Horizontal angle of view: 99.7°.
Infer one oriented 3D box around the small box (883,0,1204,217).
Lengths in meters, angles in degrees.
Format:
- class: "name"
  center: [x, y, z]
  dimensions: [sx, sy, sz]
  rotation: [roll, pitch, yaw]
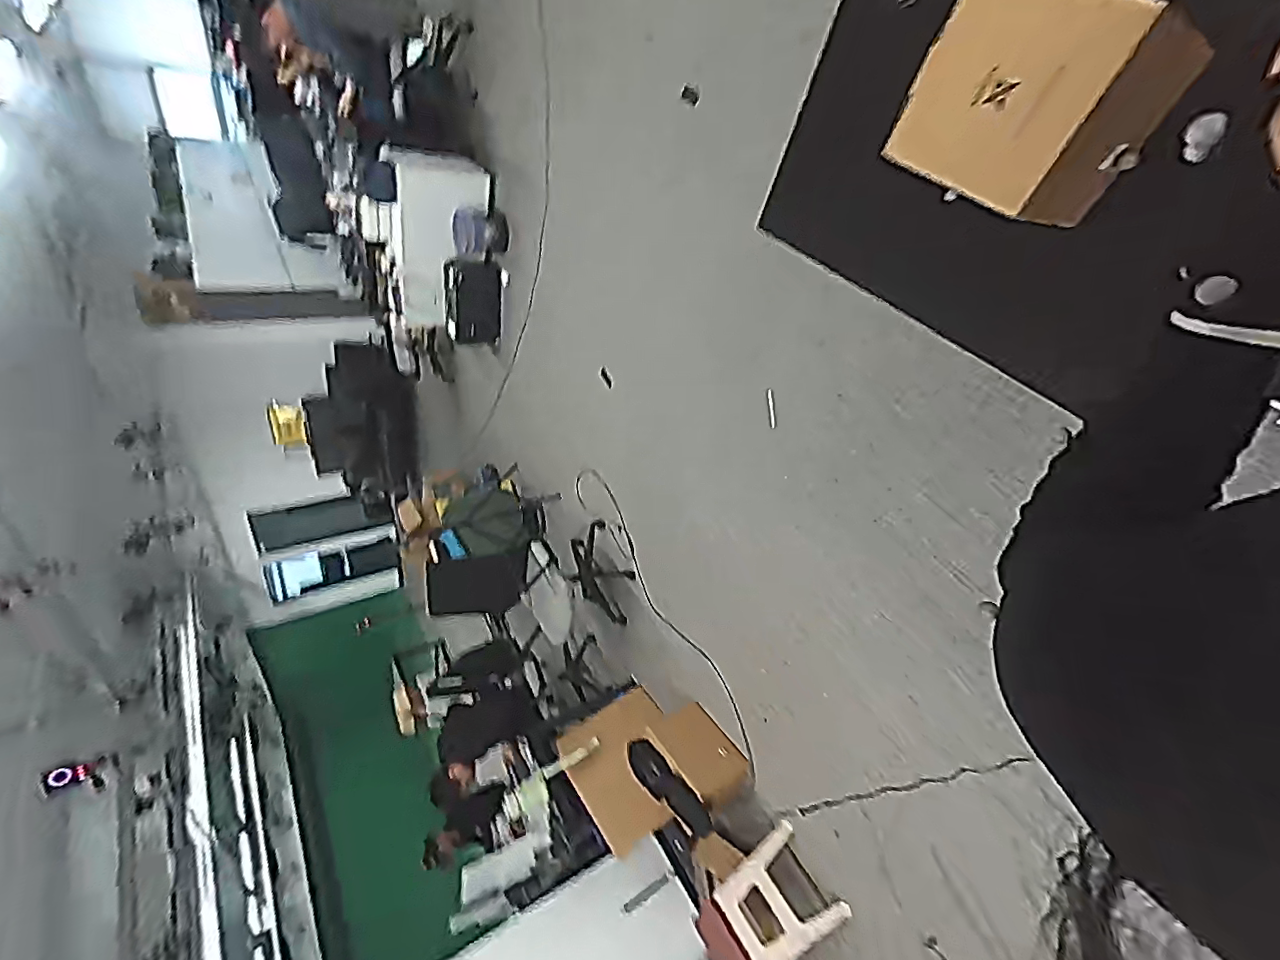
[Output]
- class: "small box"
  center: [0.404, -0.386, 0.558]
  dimensions: [0.179, 0.176, 0.168]
  rotation: [52, 141, 31]
